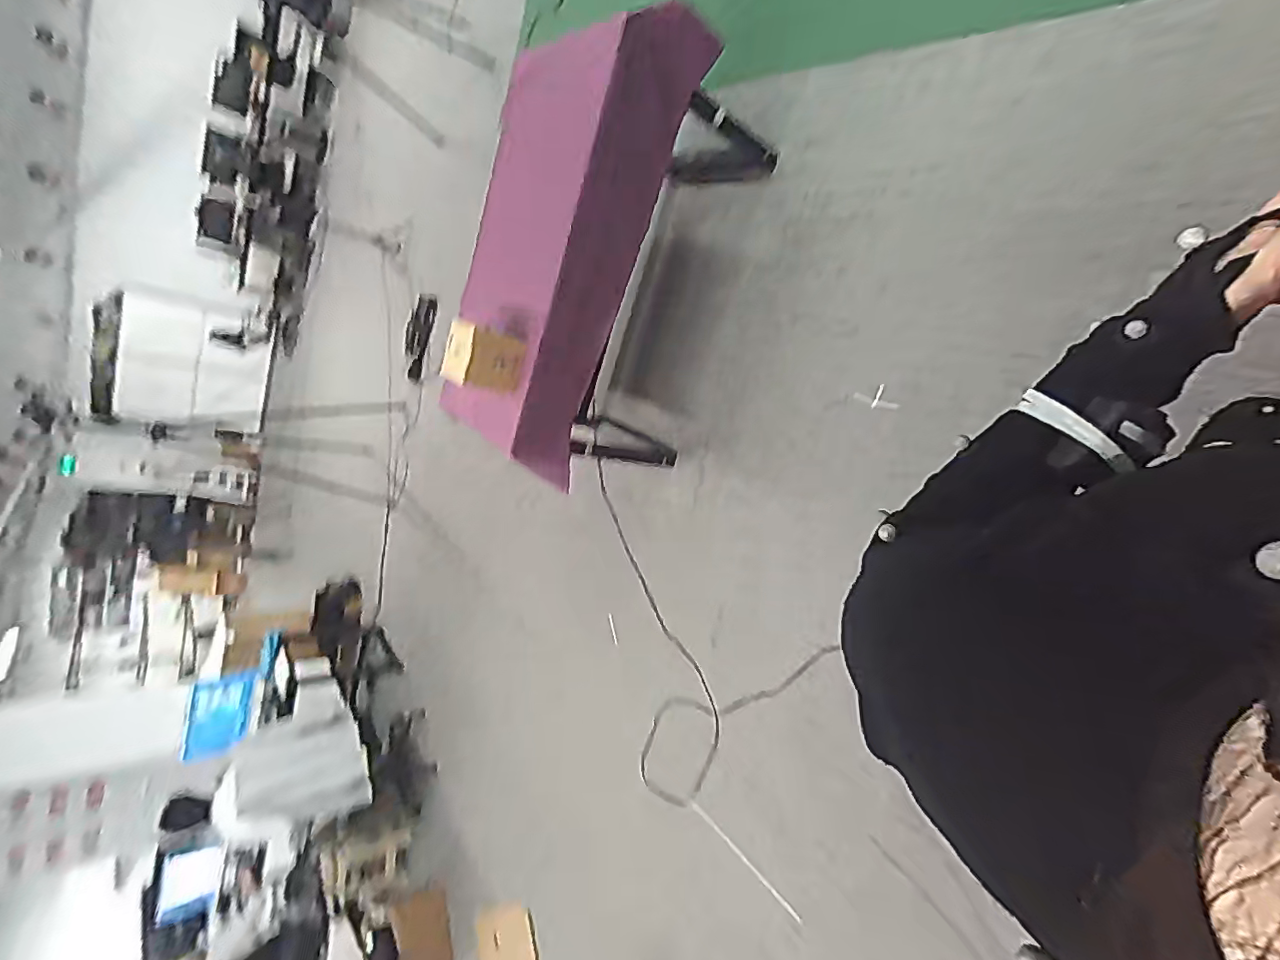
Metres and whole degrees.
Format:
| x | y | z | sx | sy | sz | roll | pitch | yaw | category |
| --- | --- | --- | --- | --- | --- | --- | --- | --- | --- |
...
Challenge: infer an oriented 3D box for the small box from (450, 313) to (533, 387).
| x | y | z | sx | sy | sz | roll | pitch | yaw | category |
| --- | --- | --- | --- | --- | --- | --- | --- | --- | --- |
| -0.450 | -0.392 | 1.645 | 0.179 | 0.176 | 0.168 | 32 | 108 | 44 | small box |
